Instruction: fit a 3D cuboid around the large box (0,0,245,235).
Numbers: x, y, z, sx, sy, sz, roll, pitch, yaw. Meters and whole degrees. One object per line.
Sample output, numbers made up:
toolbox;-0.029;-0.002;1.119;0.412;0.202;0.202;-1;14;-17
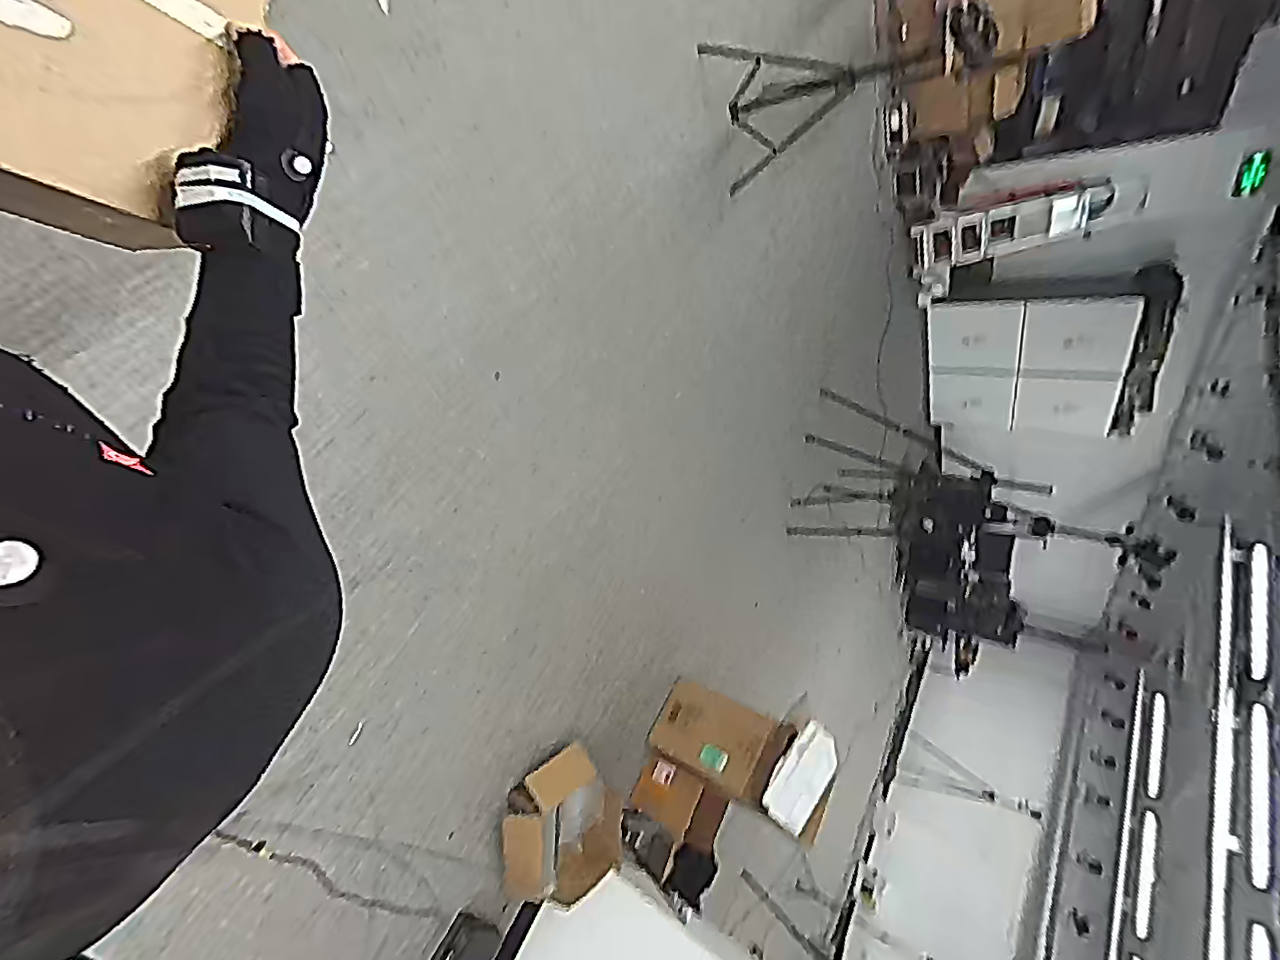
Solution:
large box;-0.561;-0.402;0.363;0.408;0.320;0.320;5;100;-56
